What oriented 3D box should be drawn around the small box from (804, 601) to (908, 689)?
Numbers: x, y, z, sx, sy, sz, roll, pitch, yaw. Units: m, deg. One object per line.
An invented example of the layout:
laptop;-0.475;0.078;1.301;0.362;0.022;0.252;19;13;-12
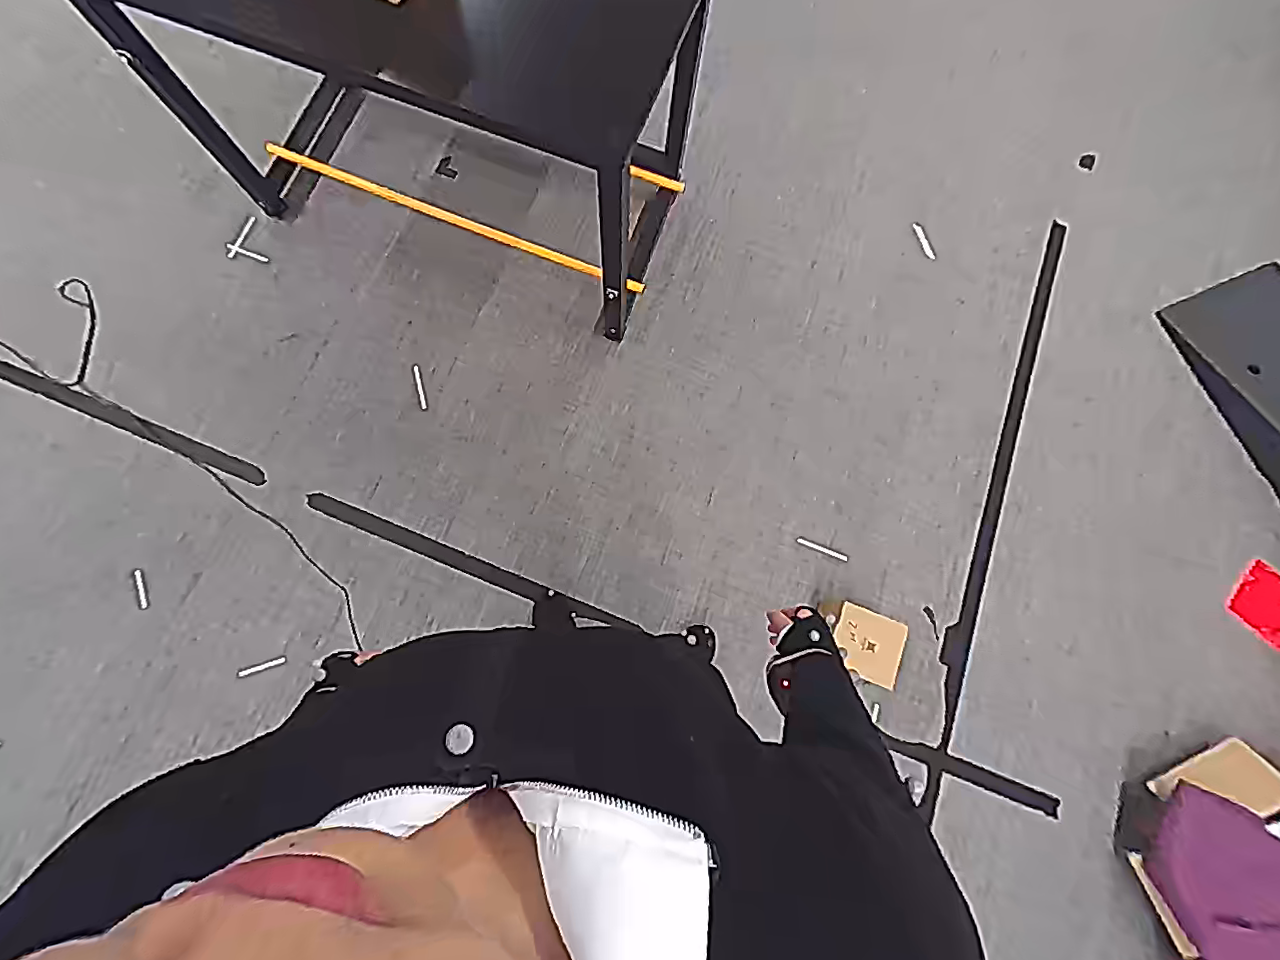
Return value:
small box;0.561;0.425;1.424;0.179;0.176;0.168;22;78;2
